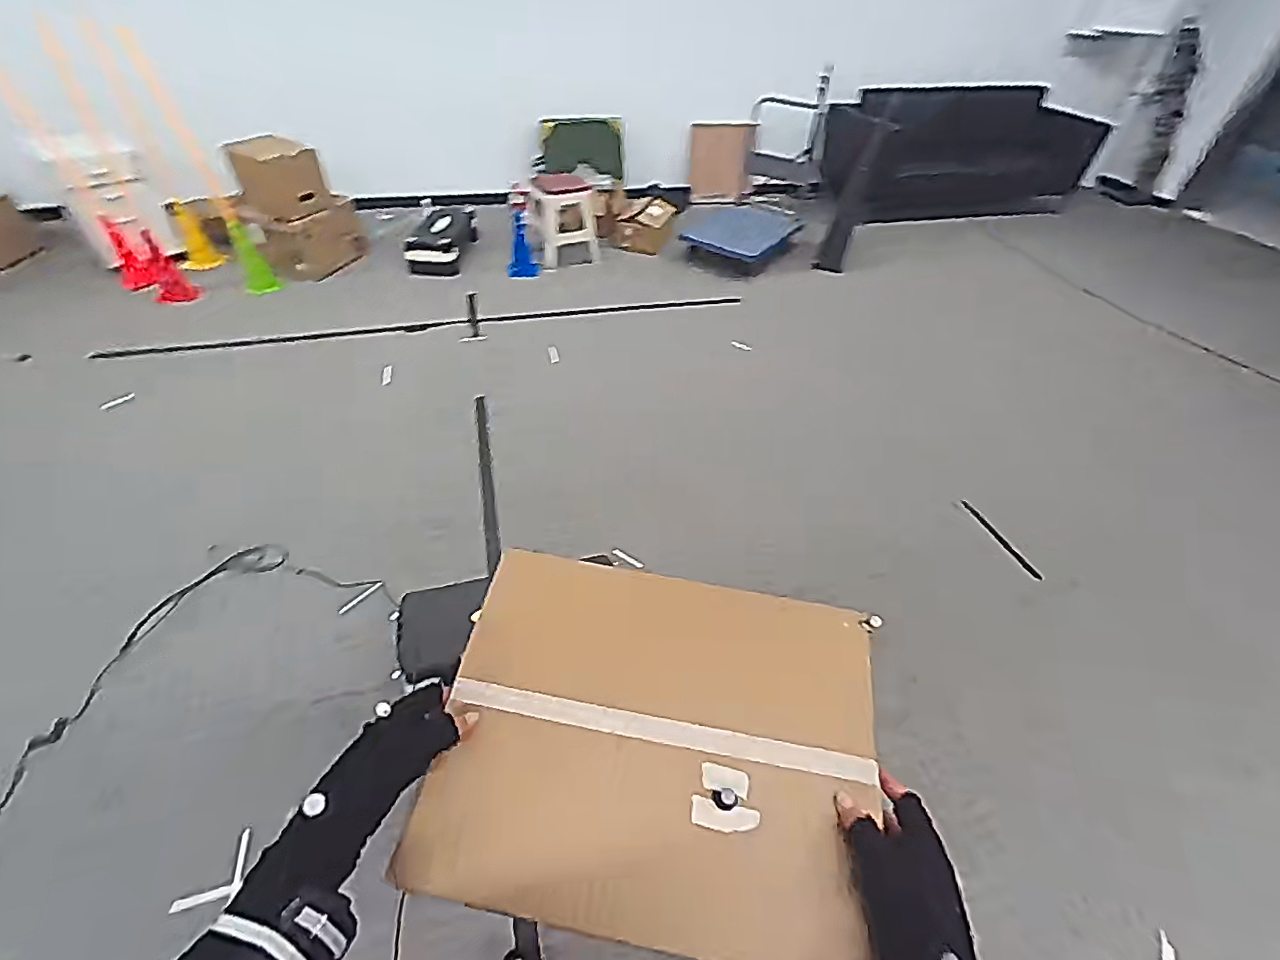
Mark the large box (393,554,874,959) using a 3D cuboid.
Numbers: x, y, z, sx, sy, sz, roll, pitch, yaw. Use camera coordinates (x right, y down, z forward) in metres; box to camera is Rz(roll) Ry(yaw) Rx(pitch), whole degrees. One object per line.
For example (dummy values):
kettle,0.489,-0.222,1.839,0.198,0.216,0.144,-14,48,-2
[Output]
large box,0.004,0.319,0.640,0.408,0.320,0.320,9,56,4
